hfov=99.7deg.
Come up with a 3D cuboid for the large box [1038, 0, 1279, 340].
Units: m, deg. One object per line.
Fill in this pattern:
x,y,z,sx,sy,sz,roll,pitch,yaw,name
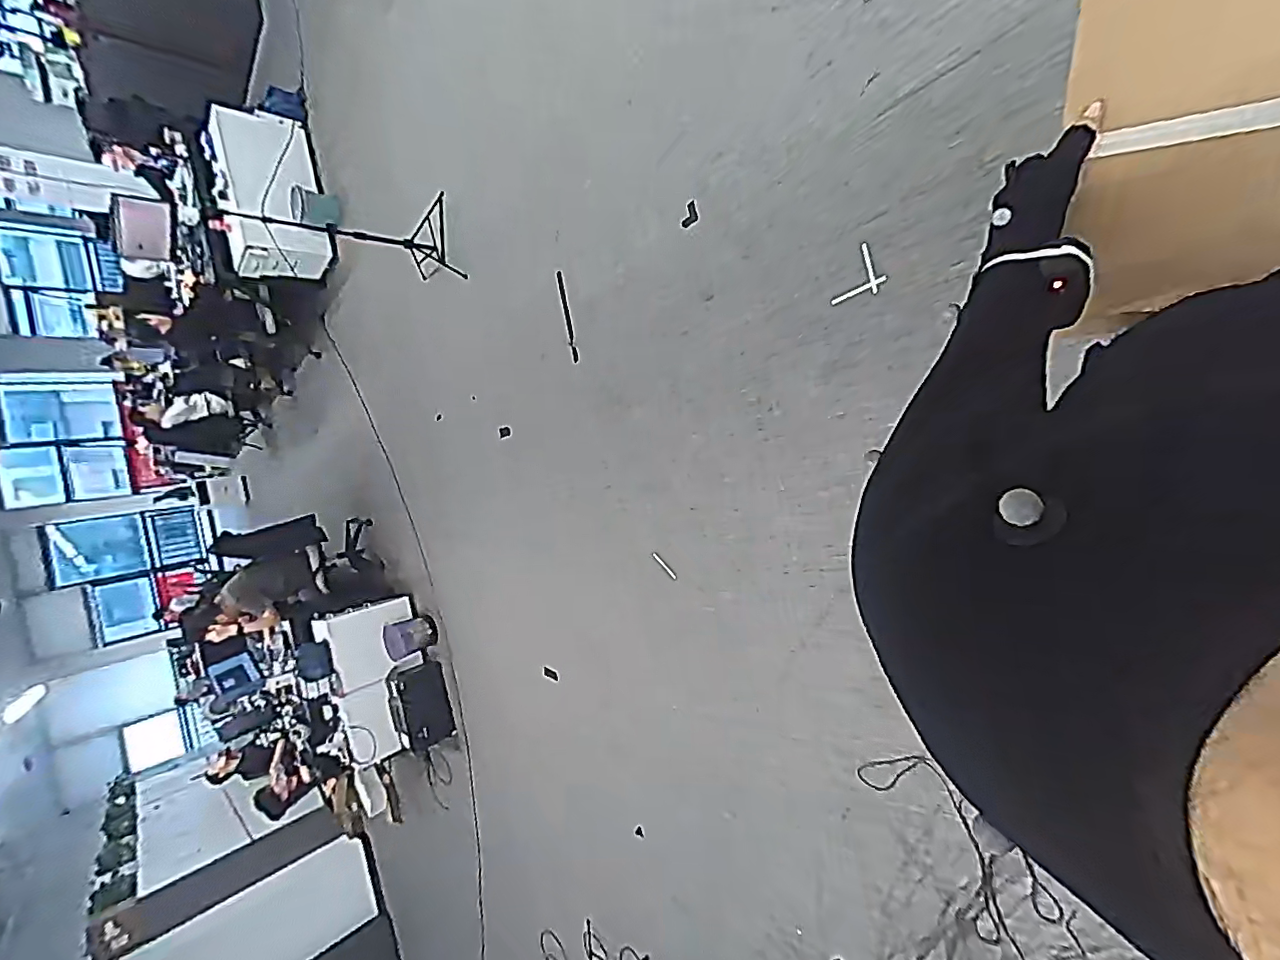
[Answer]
0.667,-0.314,0.537,0.408,0.320,0.320,10,105,38,large box
